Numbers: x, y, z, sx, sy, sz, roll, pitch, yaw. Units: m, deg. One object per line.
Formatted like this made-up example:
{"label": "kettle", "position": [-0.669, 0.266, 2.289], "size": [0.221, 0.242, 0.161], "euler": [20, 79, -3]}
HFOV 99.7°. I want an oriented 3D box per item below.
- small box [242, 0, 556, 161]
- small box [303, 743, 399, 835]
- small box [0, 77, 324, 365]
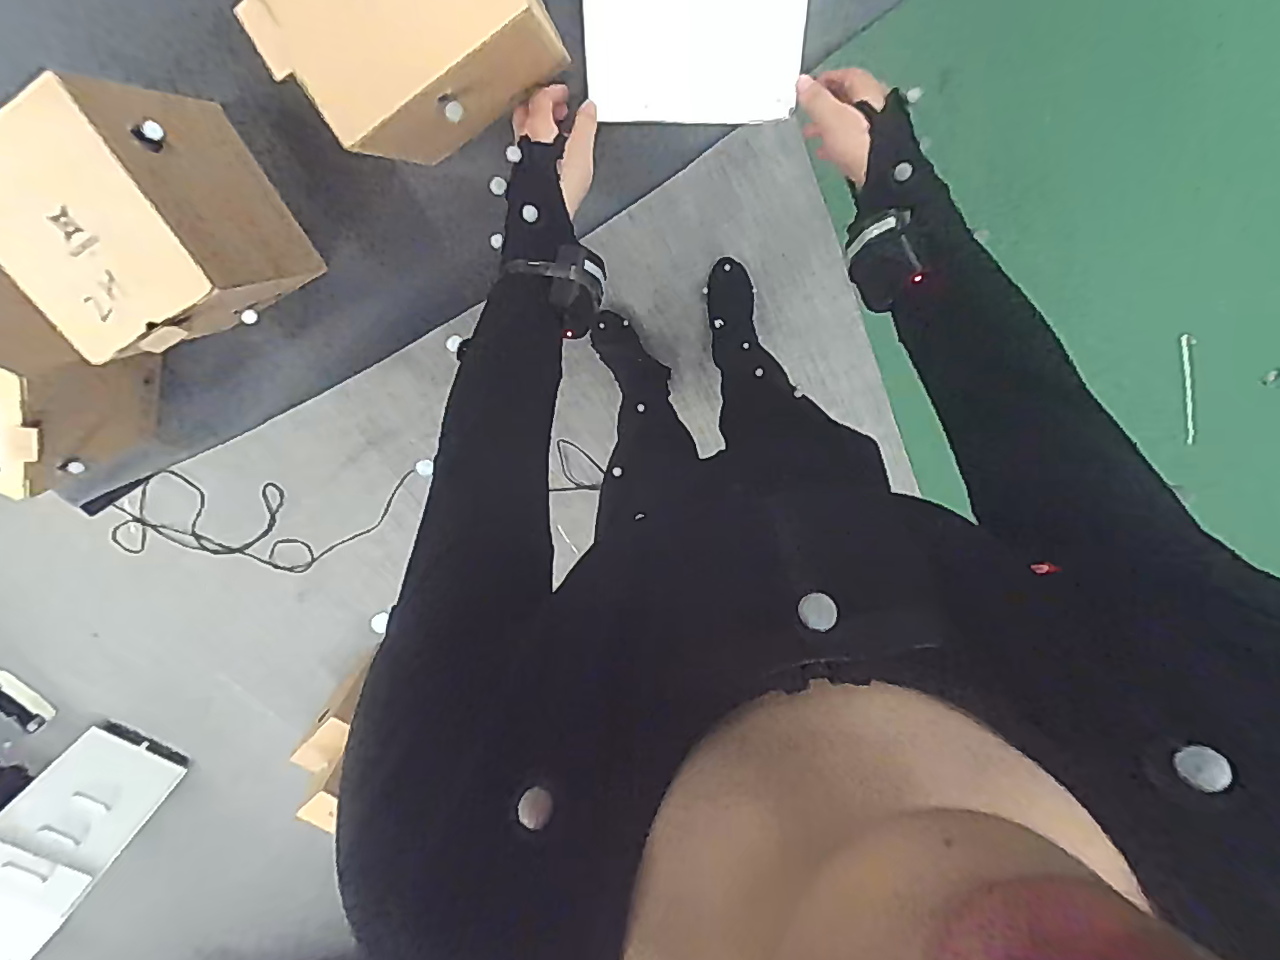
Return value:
{"label": "small box", "position": [-0.183, -0.385, 0.431], "size": [0.179, 0.176, 0.168], "euler": [-25, 113, 17]}
{"label": "small box", "position": [-0.895, 0.964, 1.694], "size": [0.179, 0.176, 0.168], "euler": [40, 112, -17]}
{"label": "small box", "position": [-0.465, -0.241, 0.528], "size": [0.168, 0.176, 0.179], "euler": [-21, 114, 15]}
